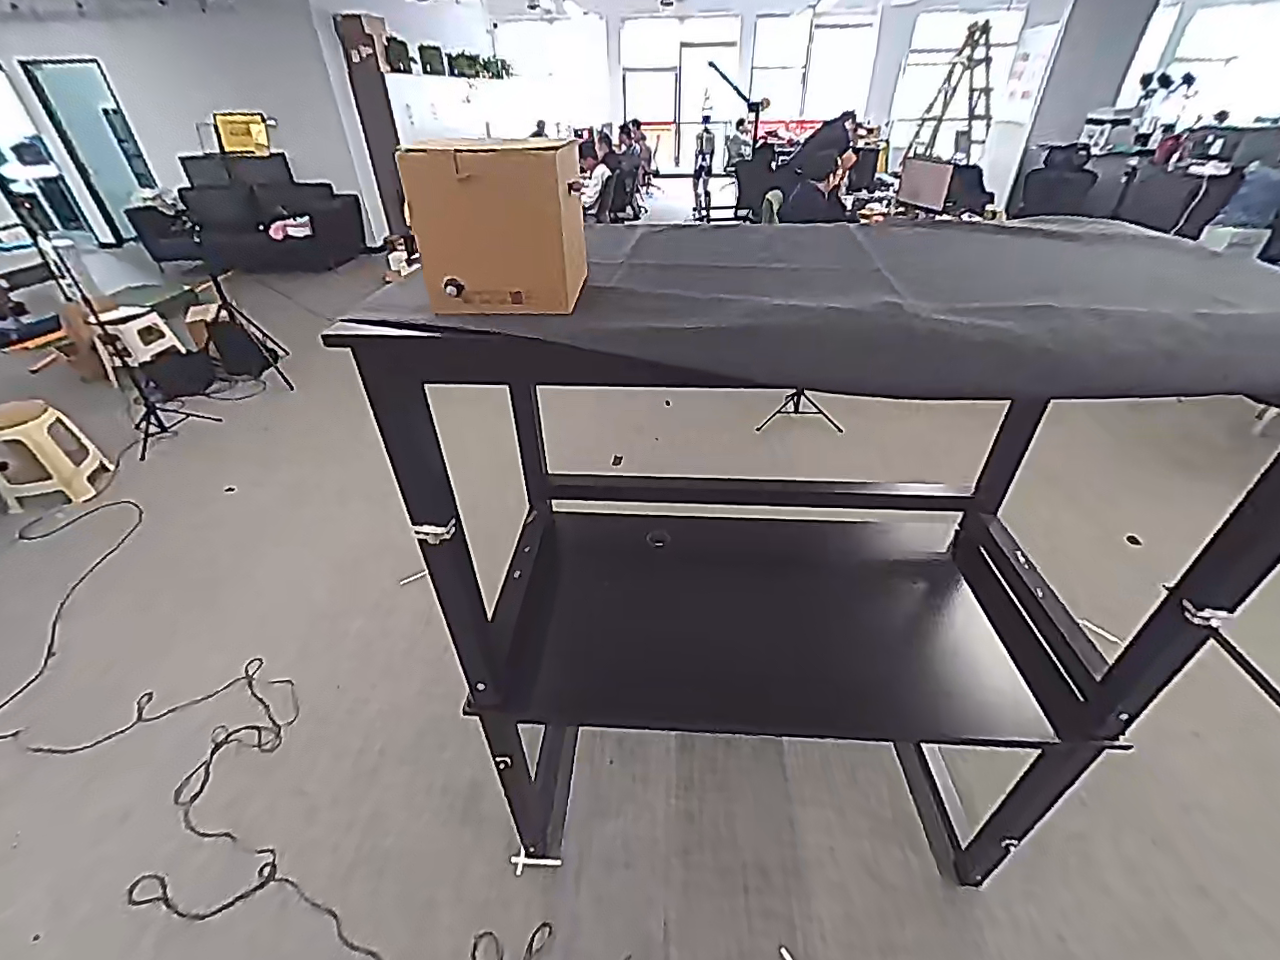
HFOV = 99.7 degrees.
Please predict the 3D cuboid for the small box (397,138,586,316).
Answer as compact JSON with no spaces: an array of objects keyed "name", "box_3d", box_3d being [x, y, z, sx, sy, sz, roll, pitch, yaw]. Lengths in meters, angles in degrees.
[{"name":"small box","box_3d":[-0.159,-0.305,0.651,0.168,0.176,0.179,1,35,2]}]
